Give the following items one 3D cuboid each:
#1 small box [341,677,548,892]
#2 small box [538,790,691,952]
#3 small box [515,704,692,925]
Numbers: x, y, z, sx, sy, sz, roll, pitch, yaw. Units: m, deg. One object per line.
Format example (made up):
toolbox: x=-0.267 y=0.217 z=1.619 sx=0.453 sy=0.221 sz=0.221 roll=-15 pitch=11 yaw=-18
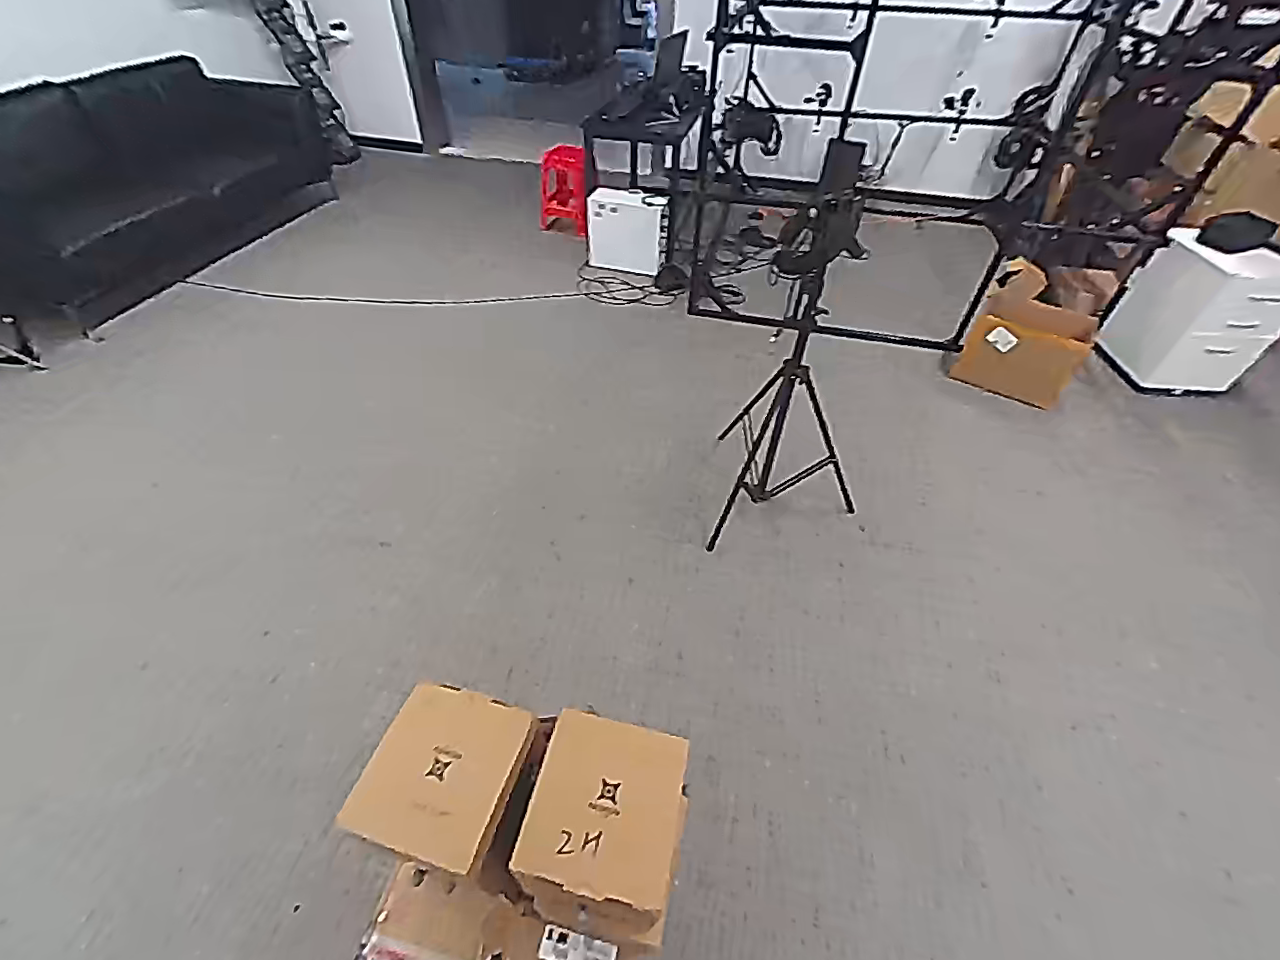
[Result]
small box: x=-0.226 y=0.385 z=0.685 sx=0.168 sy=0.176 sz=0.179 roll=10 pitch=48 yaw=12
small box: x=-0.033 y=0.537 z=0.774 sx=0.168 sy=0.176 sz=0.179 roll=13 pitch=48 yaw=9
small box: x=-0.039 y=0.411 z=0.665 sx=0.168 sy=0.176 sz=0.179 roll=11 pitch=47 yaw=7
